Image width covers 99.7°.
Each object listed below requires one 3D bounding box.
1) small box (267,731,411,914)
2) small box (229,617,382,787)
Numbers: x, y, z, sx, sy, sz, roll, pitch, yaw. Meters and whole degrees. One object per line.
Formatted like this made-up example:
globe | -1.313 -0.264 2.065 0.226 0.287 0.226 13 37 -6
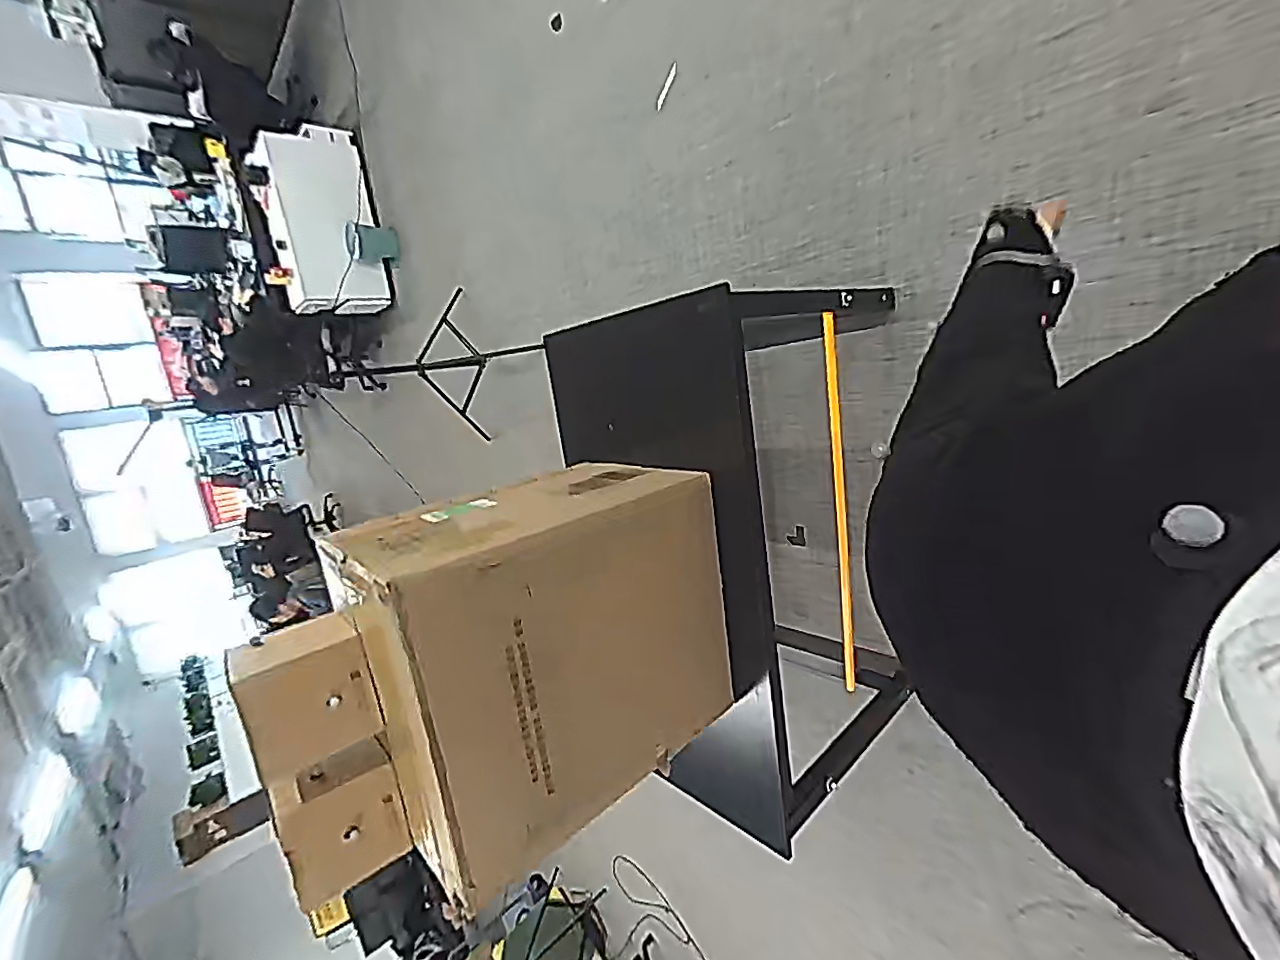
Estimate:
small box | -0.503 0.557 0.913 0.179 0.176 0.168 -1 101 50
small box | -0.531 0.336 0.864 0.179 0.176 0.168 2 105 51
